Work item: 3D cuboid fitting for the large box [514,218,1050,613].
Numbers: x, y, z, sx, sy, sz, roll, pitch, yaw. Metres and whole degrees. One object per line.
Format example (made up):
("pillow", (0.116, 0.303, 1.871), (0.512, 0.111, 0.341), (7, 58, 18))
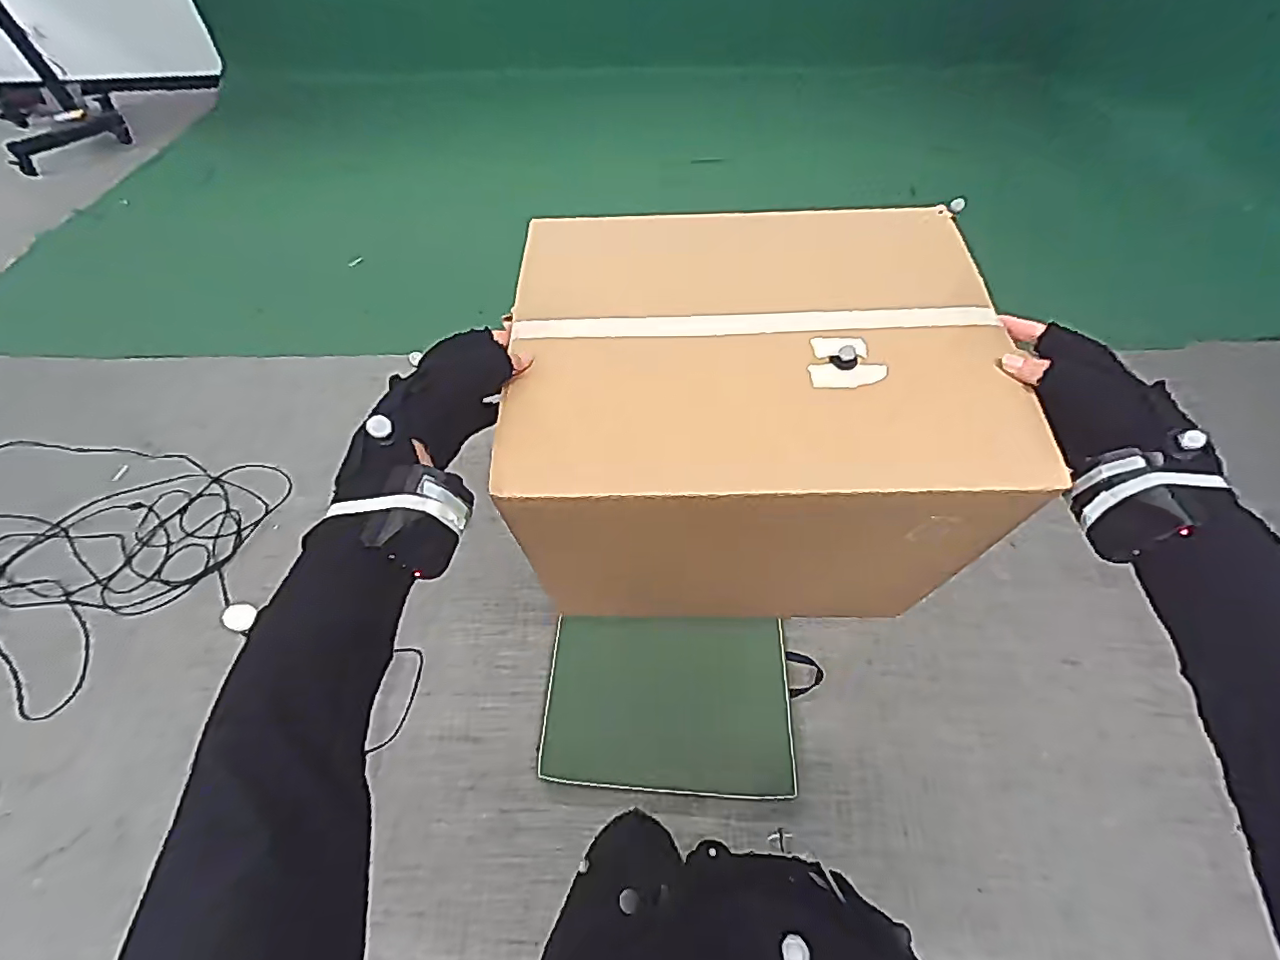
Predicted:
("large box", (0.102, -0.050, 0.597), (0.408, 0.320, 0.320), (-1, 61, 1))
